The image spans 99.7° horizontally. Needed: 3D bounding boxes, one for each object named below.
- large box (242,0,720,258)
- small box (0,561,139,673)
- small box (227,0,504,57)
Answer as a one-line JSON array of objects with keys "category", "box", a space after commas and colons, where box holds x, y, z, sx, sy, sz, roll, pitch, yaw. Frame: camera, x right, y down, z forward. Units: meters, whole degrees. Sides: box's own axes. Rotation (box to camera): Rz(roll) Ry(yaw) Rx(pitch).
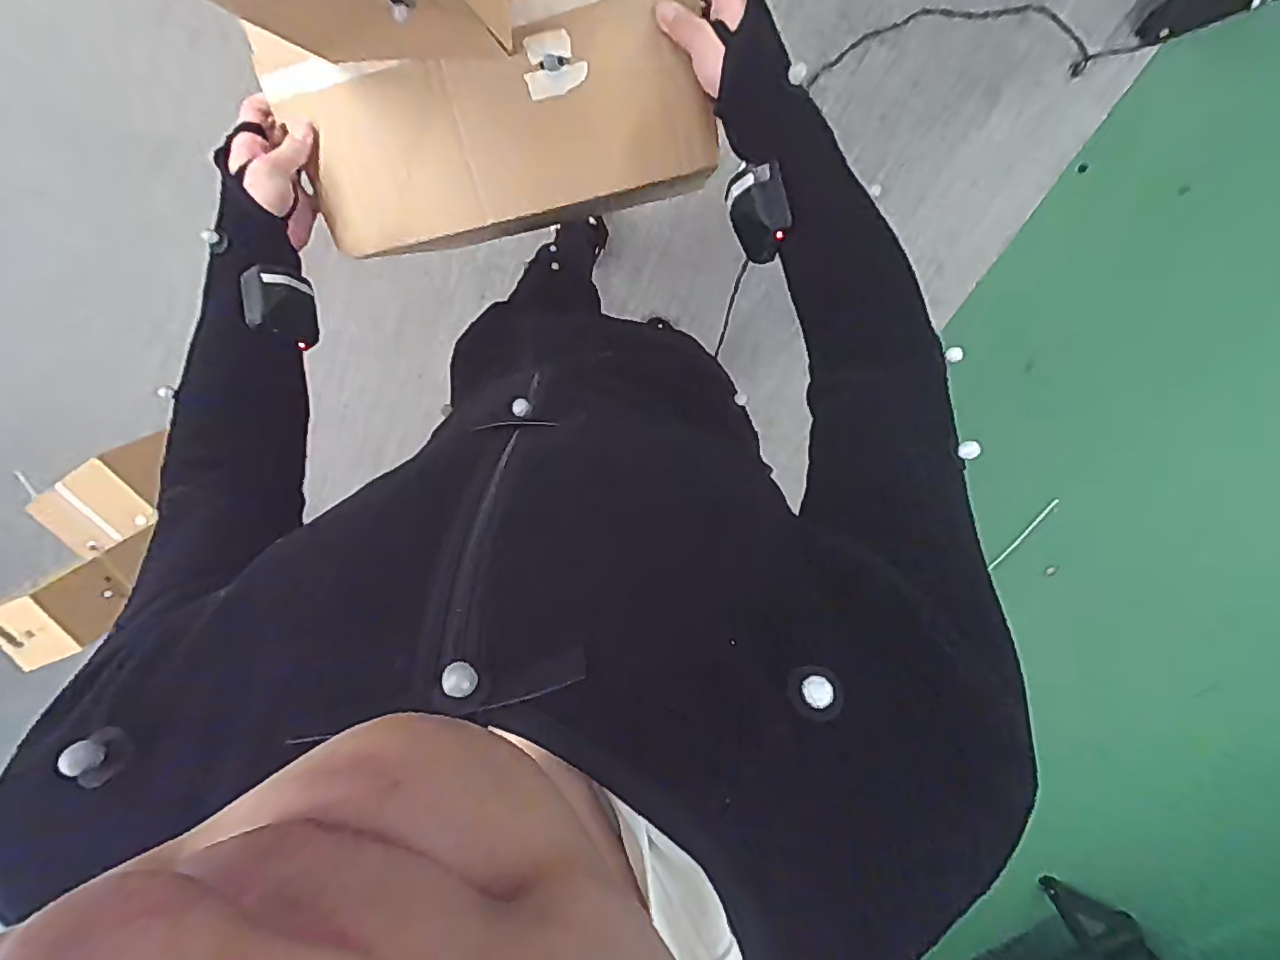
[{"category": "large box", "box": [-0.145, -0.466, 0.613, 0.408, 0.320, 0.320, -11, 115, 7]}, {"category": "small box", "box": [-1.368, 0.319, 1.280, 0.179, 0.176, 0.168, -19, 112, 9]}, {"category": "small box", "box": [-0.209, -0.416, 0.372, 0.179, 0.176, 0.168, 0, 114, 3]}]
